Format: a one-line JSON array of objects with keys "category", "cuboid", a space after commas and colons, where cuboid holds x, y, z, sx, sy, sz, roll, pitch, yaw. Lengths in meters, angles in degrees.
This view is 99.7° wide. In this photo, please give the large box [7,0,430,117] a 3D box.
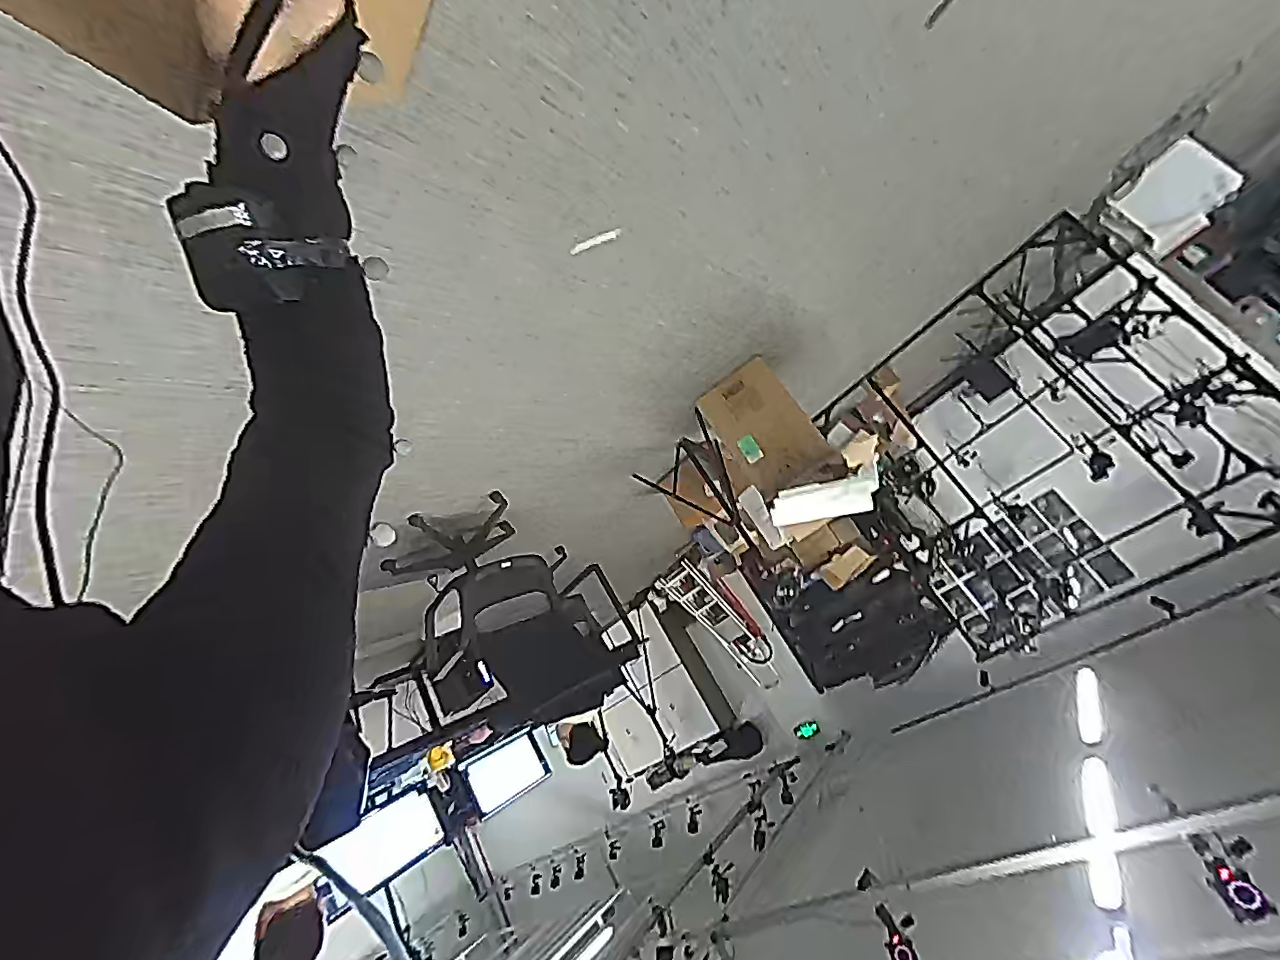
[{"category": "large box", "cuboid": [-0.345, -0.500, 0.318, 0.408, 0.320, 0.320, 28, 125, -18]}]
